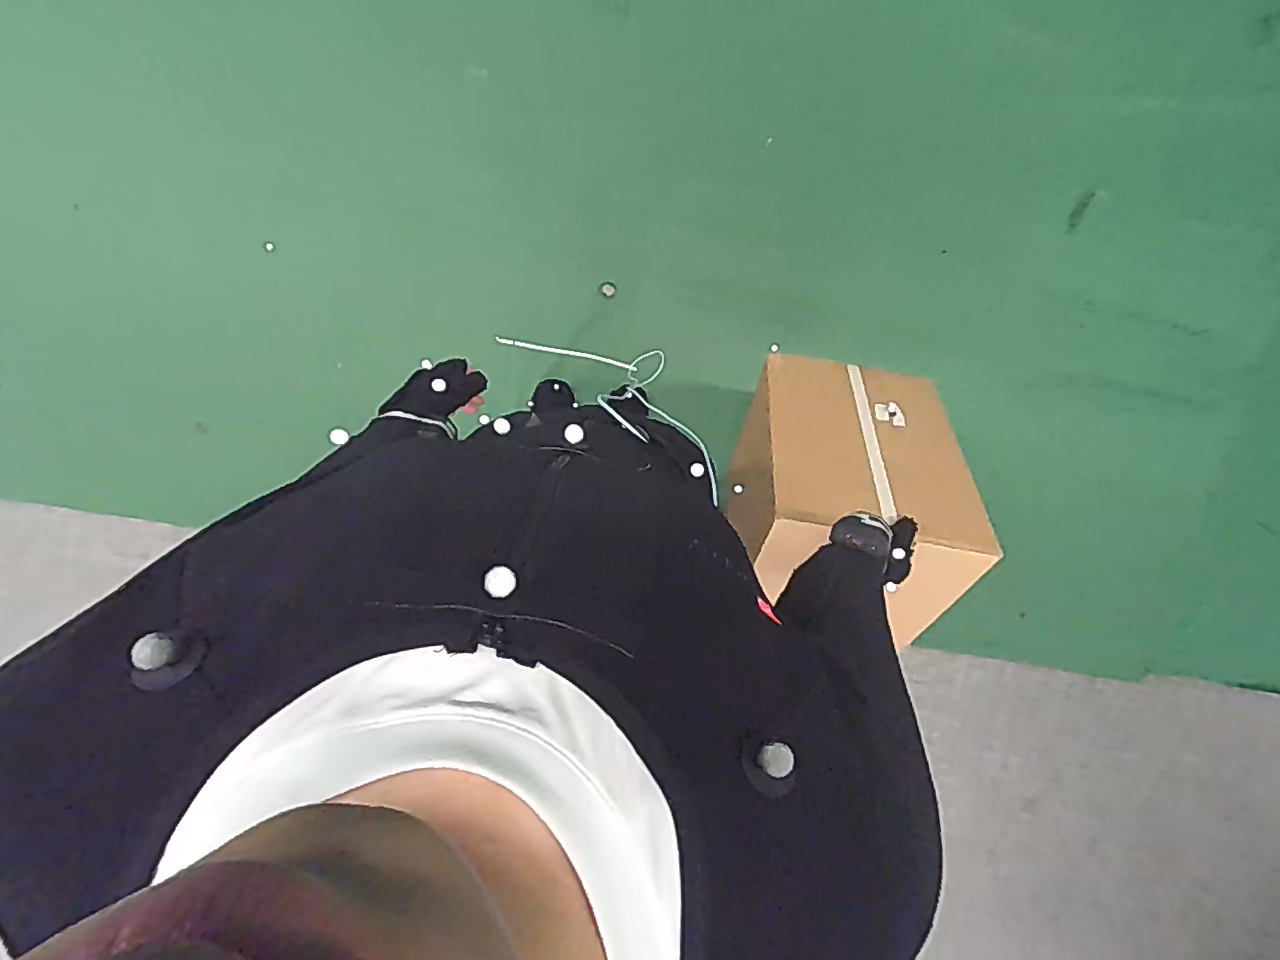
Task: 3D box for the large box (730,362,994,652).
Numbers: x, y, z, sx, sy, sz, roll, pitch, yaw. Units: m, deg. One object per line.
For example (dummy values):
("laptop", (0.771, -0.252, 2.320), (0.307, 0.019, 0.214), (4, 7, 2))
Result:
("large box", (0.347, 0.045, 0.986), (0.320, 0.408, 0.320), (11, 136, 0))
